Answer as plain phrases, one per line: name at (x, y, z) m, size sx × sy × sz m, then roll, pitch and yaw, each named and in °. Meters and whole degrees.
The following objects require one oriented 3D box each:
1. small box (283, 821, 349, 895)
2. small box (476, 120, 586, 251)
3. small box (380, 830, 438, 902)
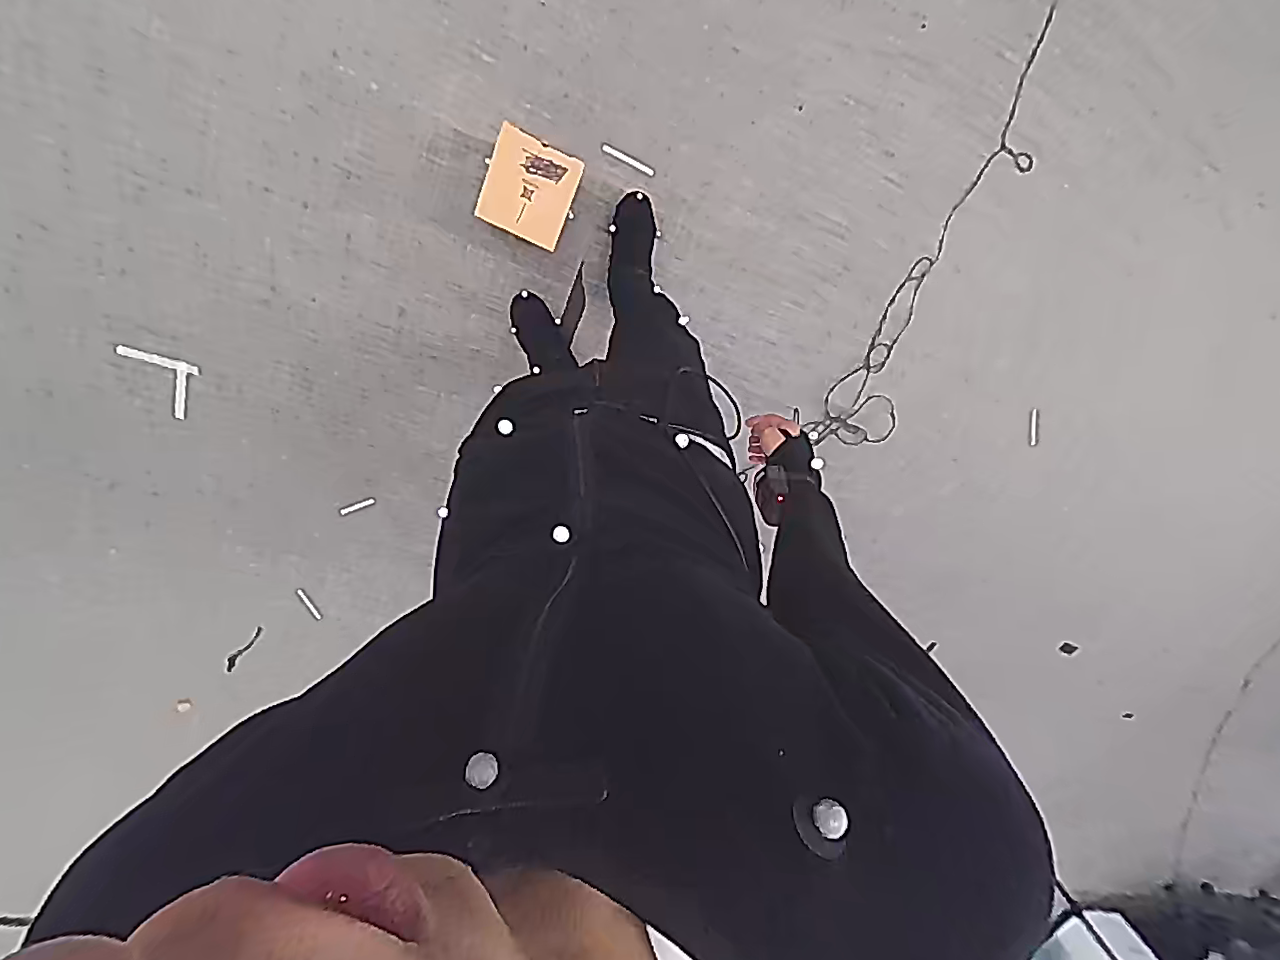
small box at (-1.233, 1.444, 2.065) m, size 0.168 × 0.176 × 0.179 m, roll 13°, pitch 112°, yaw -16°
small box at (-0.223, -0.598, 1.113) m, size 0.168 × 0.176 × 0.179 m, roll 20°, pitch 111°, yaw -18°
small box at (-0.919, 1.544, 2.163) m, size 0.168 × 0.176 × 0.179 m, roll 16°, pitch 111°, yaw -18°
